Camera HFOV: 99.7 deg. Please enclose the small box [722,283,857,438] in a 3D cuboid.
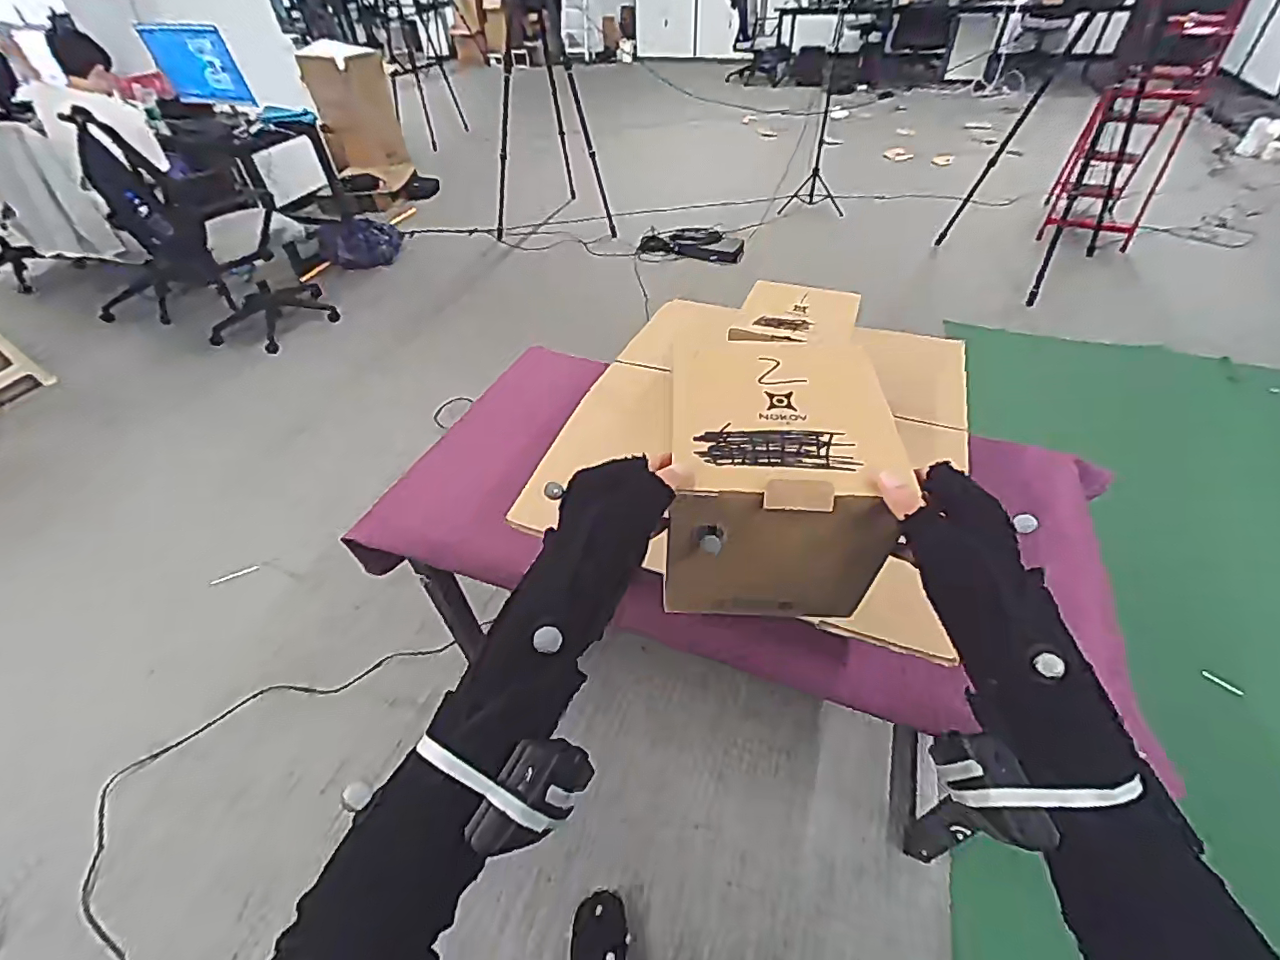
[{"bbox_3d":[0.232,-0.190,0.862,0.168,0.176,0.179,15,45,17],"label":"small box"}]
